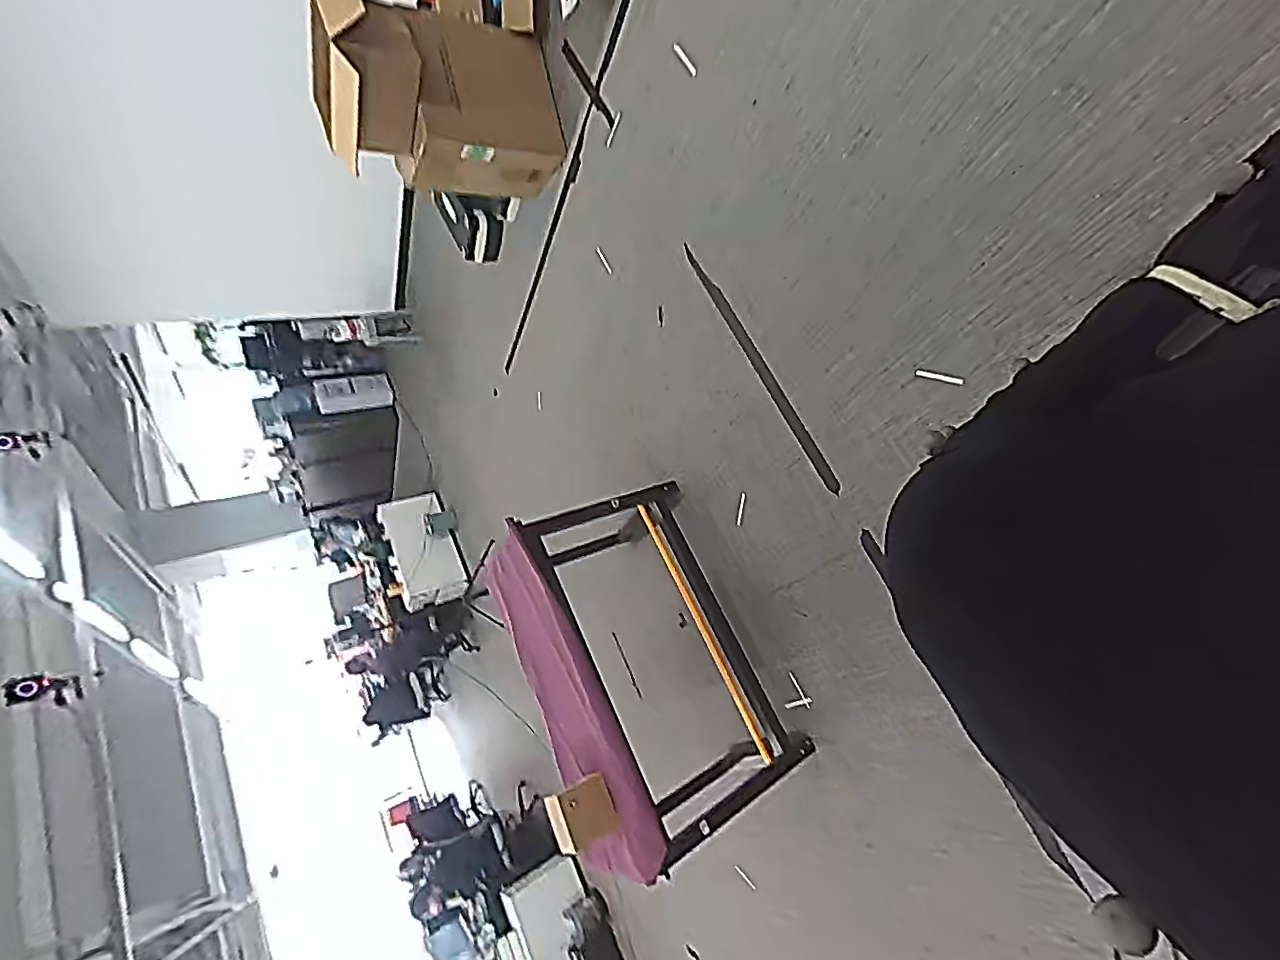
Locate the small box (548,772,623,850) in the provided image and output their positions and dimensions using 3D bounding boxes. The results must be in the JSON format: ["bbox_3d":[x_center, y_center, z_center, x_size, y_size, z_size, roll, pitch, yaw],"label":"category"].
[{"bbox_3d":[-0.183,1.093,1.797,0.179,0.176,0.168,64,146,21],"label":"small box"}]
